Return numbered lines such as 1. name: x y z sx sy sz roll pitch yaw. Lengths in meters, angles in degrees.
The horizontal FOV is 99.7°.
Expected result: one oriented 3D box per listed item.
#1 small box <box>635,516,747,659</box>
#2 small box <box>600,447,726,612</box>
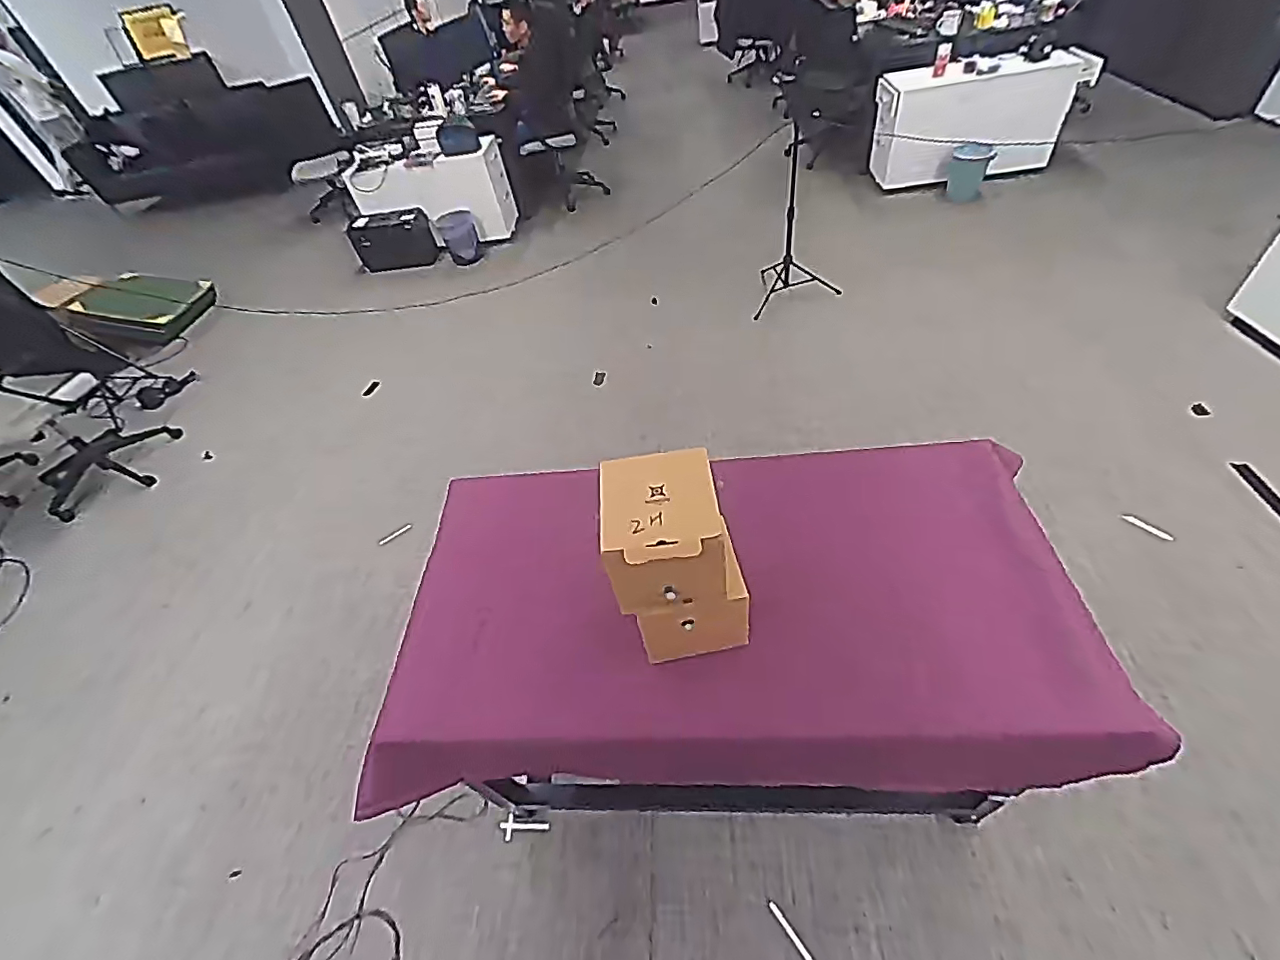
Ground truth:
1. small box: 0.080 0.190 0.933 0.179 0.176 0.168 -11 47 0
2. small box: 0.035 0.077 0.819 0.168 0.176 0.179 -8 47 5
